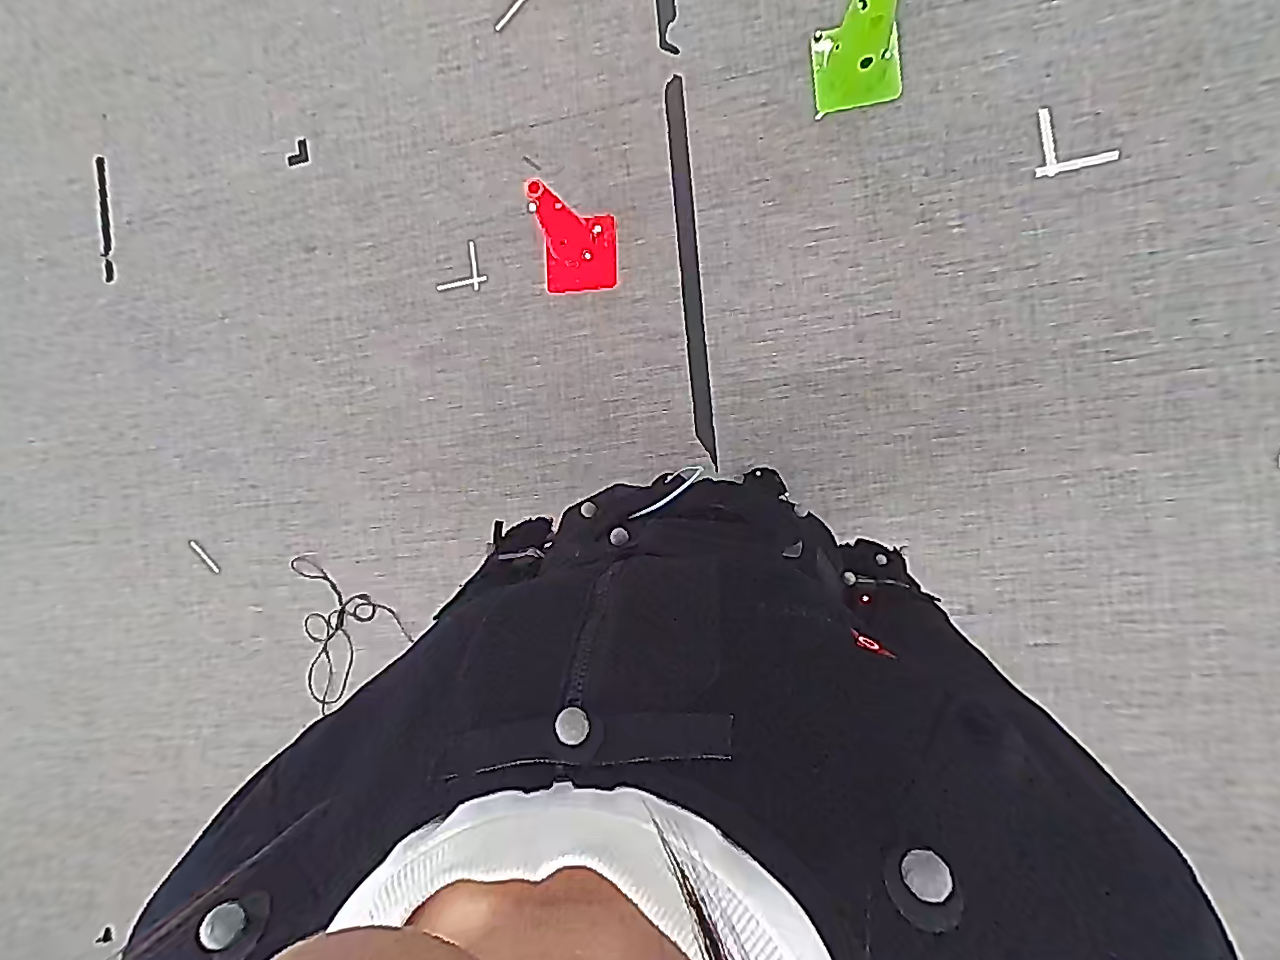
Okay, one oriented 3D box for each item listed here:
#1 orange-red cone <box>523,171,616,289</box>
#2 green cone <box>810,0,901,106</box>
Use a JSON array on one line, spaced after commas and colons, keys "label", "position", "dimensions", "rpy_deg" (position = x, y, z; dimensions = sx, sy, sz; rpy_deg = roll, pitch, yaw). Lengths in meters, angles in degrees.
[{"label": "orange-red cone", "position": [-0.195, -0.617, 1.286], "dimensions": [0.199, 0.360, 0.198], "rpy_deg": [-1, 90, 11]}, {"label": "green cone", "position": [0.499, -1.021, 1.150], "dimensions": [0.202, 0.368, 0.200], "rpy_deg": [-5, 91, 9]}]
